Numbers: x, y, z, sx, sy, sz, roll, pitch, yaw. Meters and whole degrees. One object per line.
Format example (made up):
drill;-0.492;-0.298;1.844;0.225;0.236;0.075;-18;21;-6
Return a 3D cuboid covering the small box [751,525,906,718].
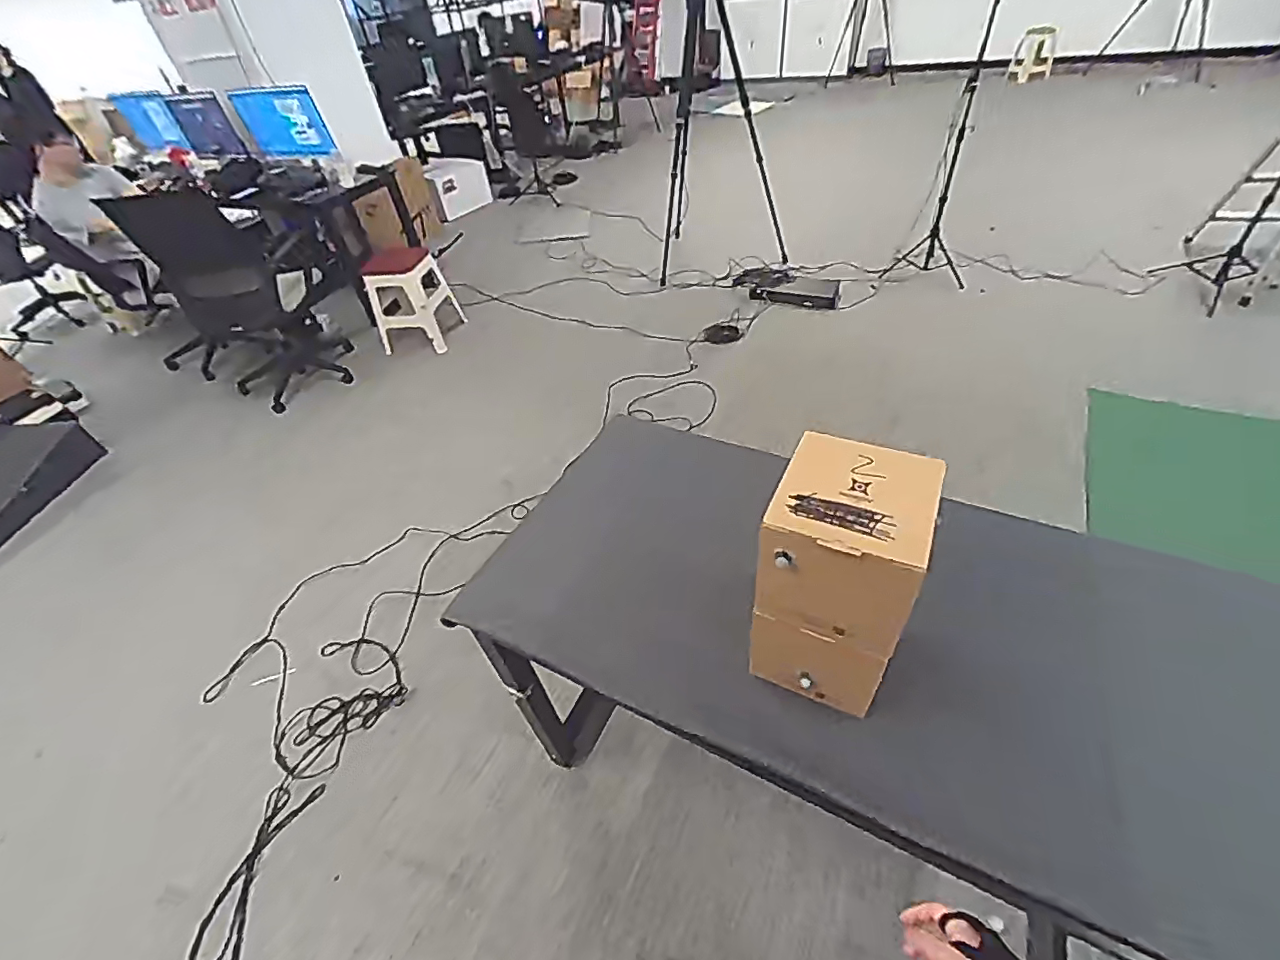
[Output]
small box;0.262;0.200;0.772;0.168;0.176;0.179;16;48;23
